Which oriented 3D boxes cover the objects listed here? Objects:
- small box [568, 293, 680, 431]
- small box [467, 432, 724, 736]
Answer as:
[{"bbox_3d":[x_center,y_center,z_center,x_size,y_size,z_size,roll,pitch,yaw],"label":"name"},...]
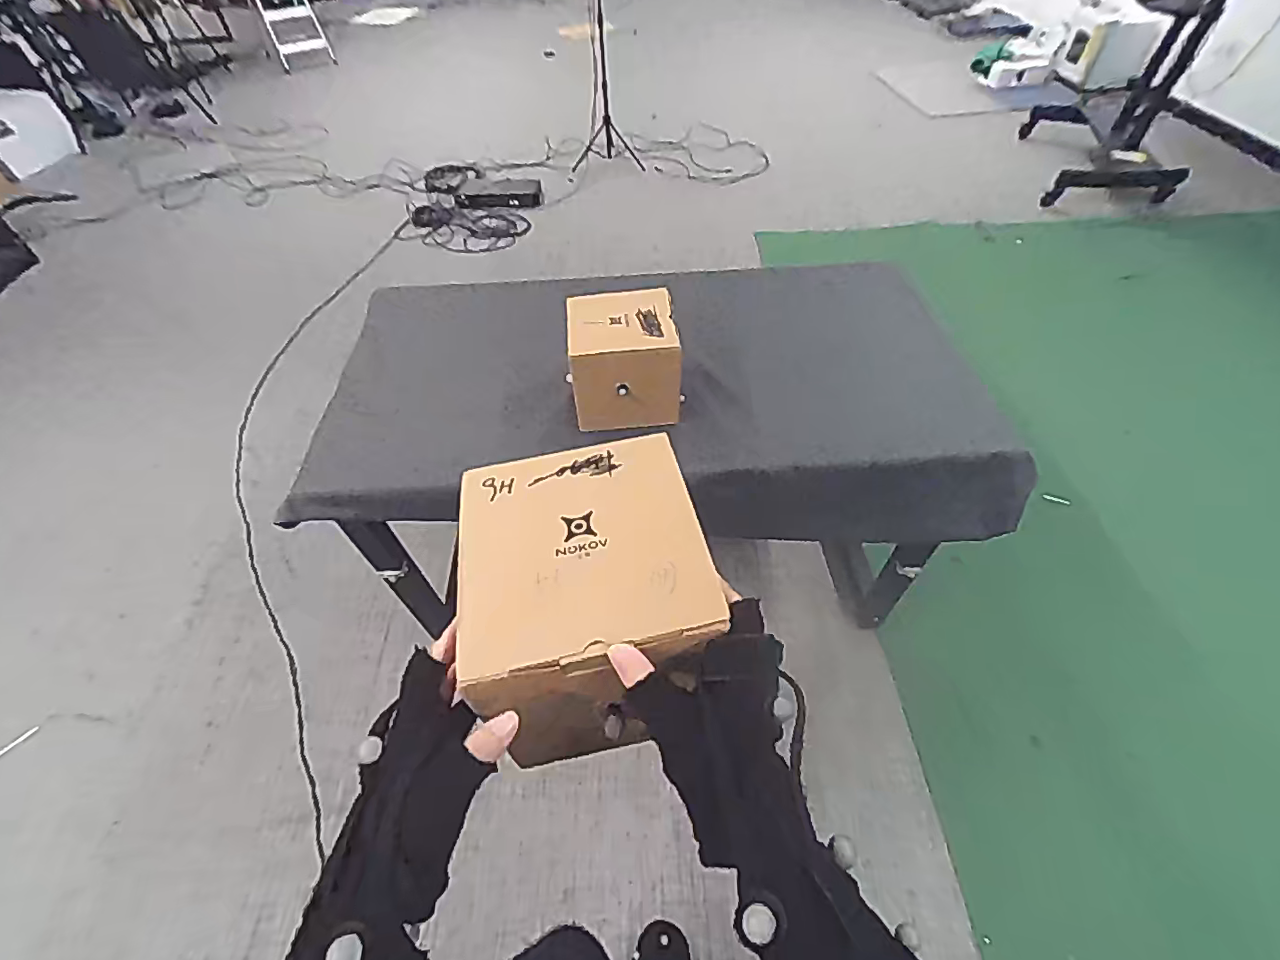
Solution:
[{"bbox_3d":[-0.029,-0.204,0.951,0.179,0.176,0.168,-6,51,-1],"label":"small box"},{"bbox_3d":[-0.034,0.091,0.445,0.168,0.176,0.179,-11,48,-4],"label":"small box"}]
